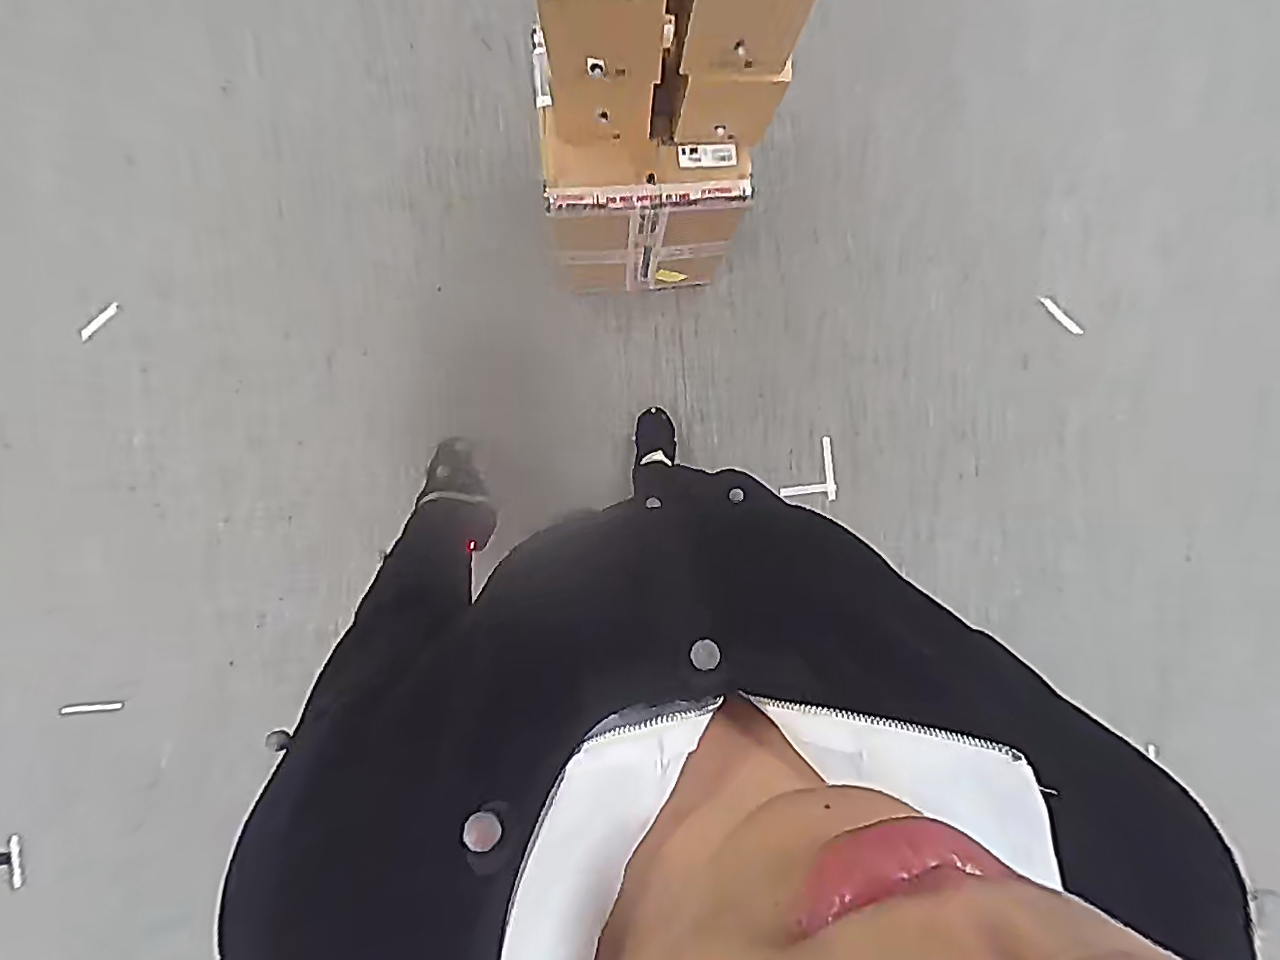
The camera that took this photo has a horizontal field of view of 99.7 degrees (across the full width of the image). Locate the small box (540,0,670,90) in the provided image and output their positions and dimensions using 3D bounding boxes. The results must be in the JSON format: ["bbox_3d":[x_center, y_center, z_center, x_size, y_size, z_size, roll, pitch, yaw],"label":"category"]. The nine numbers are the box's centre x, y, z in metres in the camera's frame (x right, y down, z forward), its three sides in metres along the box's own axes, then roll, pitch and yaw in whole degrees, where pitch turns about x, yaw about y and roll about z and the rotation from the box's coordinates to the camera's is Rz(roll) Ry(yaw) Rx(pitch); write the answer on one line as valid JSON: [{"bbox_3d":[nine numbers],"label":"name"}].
[{"bbox_3d":[-0.047,-0.678,0.738,0.168,0.176,0.179,-1,93,0],"label":"small box"}]

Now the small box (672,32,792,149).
[{"bbox_3d":[0.147,-0.697,0.912,0.168,0.176,0.179,-2,93,-4],"label":"small box"}]

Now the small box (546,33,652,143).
[{"bbox_3d":[-0.062,-0.691,0.901,0.168,0.176,0.179,-1,93,-1],"label":"small box"}]

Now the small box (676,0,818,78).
[{"bbox_3d":[0.141,-0.703,0.746,0.168,0.176,0.179,-4,92,-4],"label":"small box"}]
